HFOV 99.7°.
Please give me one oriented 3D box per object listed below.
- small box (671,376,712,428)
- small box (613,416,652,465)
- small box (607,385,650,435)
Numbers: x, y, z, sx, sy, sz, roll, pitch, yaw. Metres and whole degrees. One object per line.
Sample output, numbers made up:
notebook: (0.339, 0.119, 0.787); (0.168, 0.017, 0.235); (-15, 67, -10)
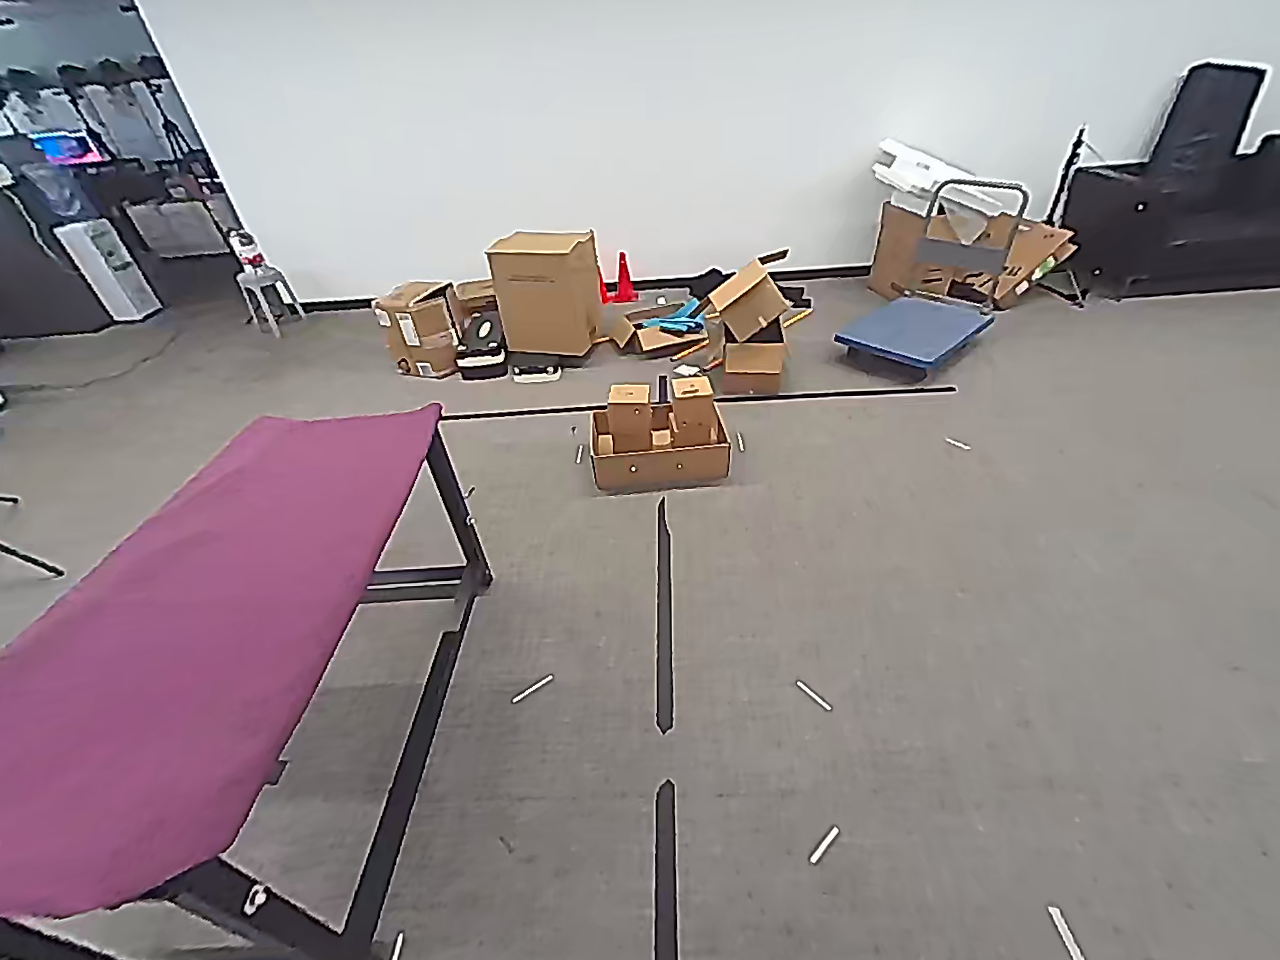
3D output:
small box: (0.231, -0.345, 2.429); (0.168, 0.176, 0.179); (-6, 36, 0)
small box: (-0.033, -0.190, 2.535); (0.168, 0.176, 0.179); (2, 38, 7)
small box: (-0.046, -0.310, 2.420); (0.179, 0.176, 0.168); (0, 37, 5)
